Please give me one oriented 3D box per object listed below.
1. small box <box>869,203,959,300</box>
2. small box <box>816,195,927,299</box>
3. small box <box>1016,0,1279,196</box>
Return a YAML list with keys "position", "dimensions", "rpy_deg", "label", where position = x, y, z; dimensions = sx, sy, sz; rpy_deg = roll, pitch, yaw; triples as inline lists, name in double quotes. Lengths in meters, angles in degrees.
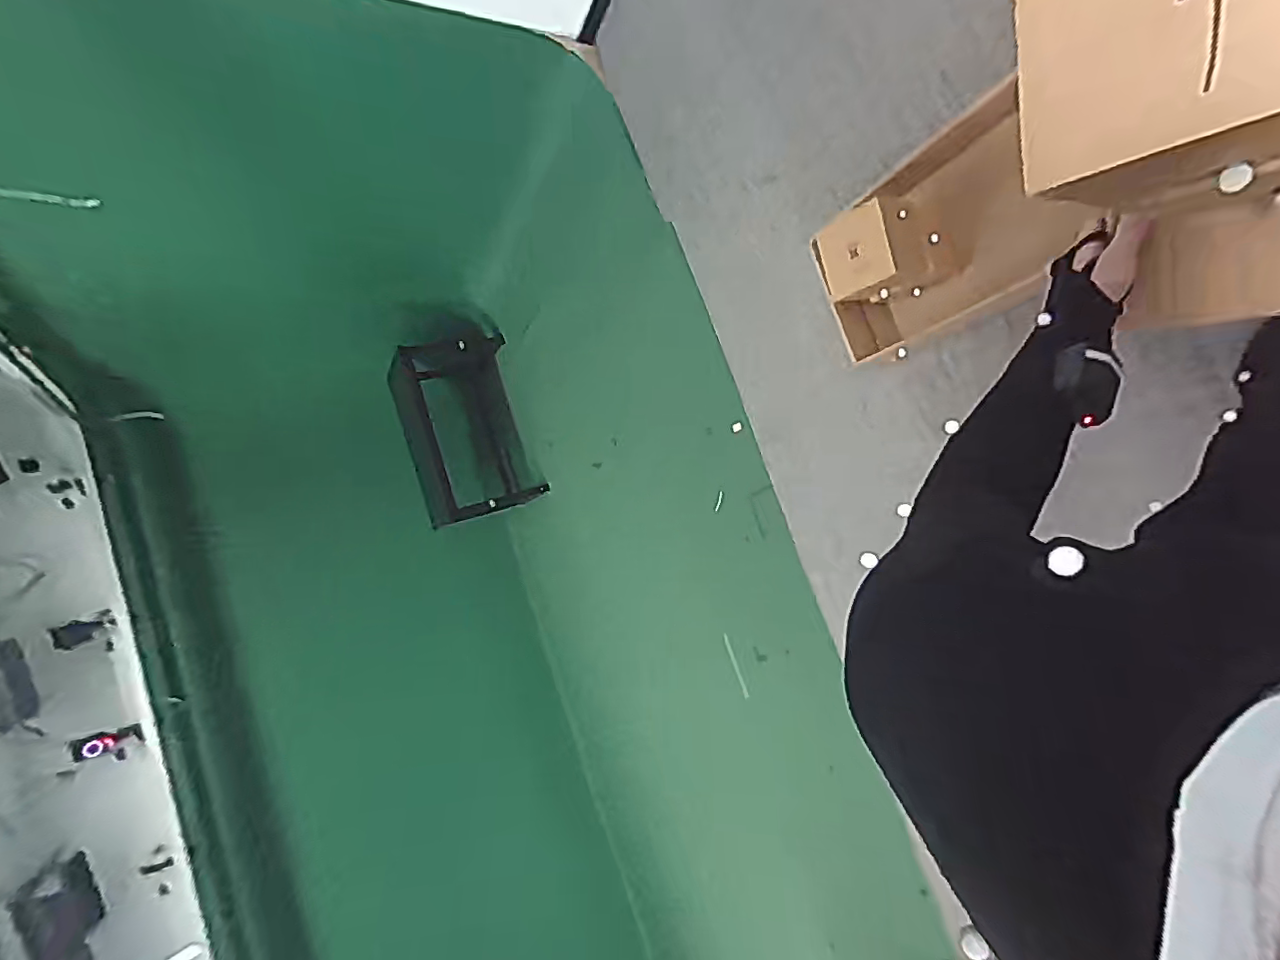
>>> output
- position: [0.685, -0.581, 1.394]
  dimensions: [0.168, 0.176, 0.179]
  rpy_deg: [-19, 89, 53]
  label: "small box"
- position: [0.557, -0.550, 1.298]
  dimensions: [0.168, 0.176, 0.179]
  rpy_deg: [-12, 94, 54]
  label: "small box"
- position: [0.333, -0.279, 0.297]
  dimensions: [0.168, 0.176, 0.179]
  rpy_deg: [5, 108, 53]
  label: "small box"
